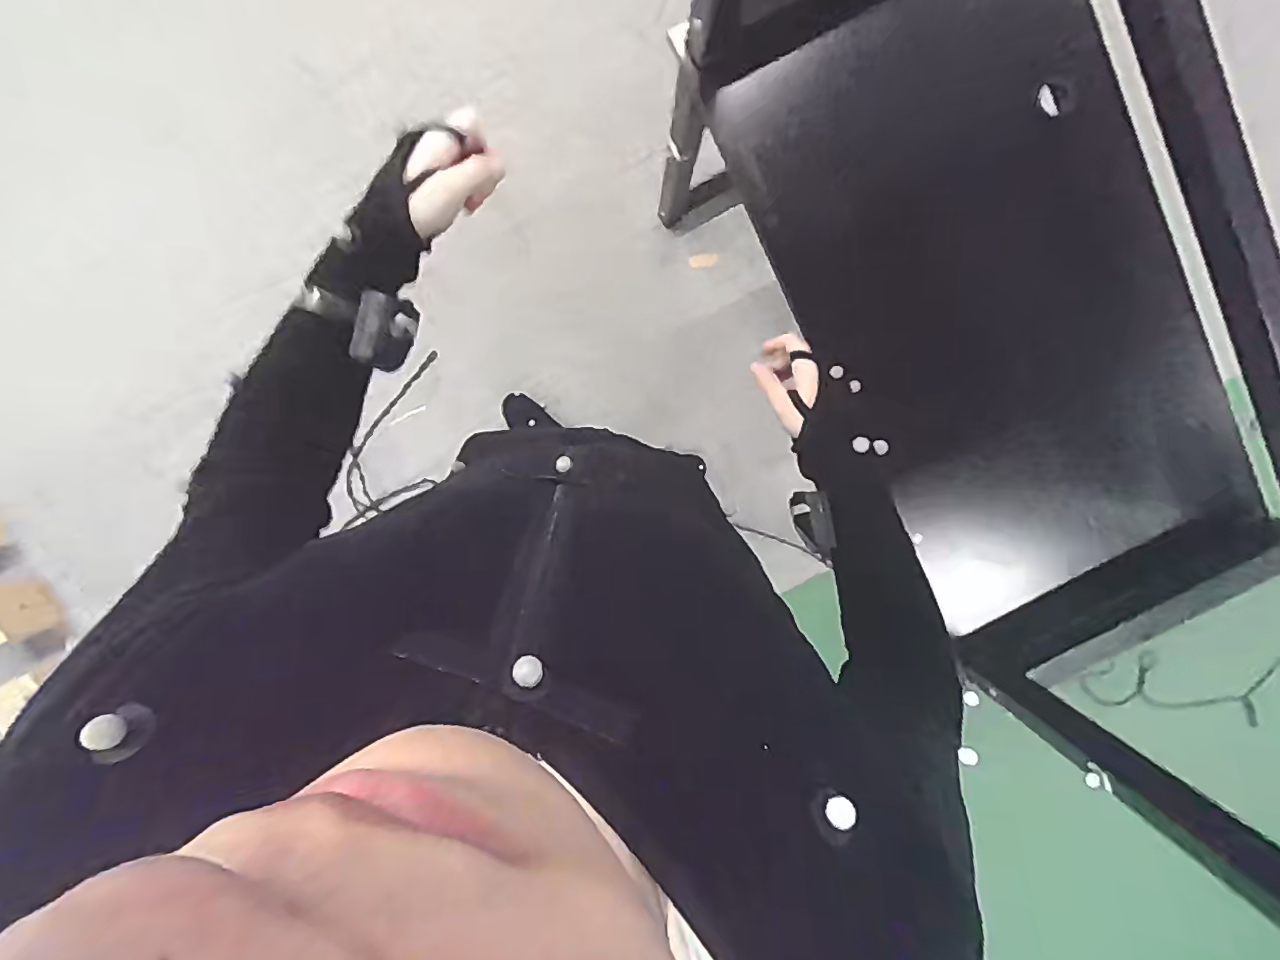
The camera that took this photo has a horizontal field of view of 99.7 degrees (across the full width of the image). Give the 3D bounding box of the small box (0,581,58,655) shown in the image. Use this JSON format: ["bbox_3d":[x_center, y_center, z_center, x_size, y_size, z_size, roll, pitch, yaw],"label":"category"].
[{"bbox_3d":[-1.858,0.416,1.559,0.179,0.176,0.168,-26,97,2],"label":"small box"}]

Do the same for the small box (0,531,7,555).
[{"bbox_3d":[-1.978,0.179,1.529,0.179,0.176,0.168,-26,98,2],"label":"small box"}]
